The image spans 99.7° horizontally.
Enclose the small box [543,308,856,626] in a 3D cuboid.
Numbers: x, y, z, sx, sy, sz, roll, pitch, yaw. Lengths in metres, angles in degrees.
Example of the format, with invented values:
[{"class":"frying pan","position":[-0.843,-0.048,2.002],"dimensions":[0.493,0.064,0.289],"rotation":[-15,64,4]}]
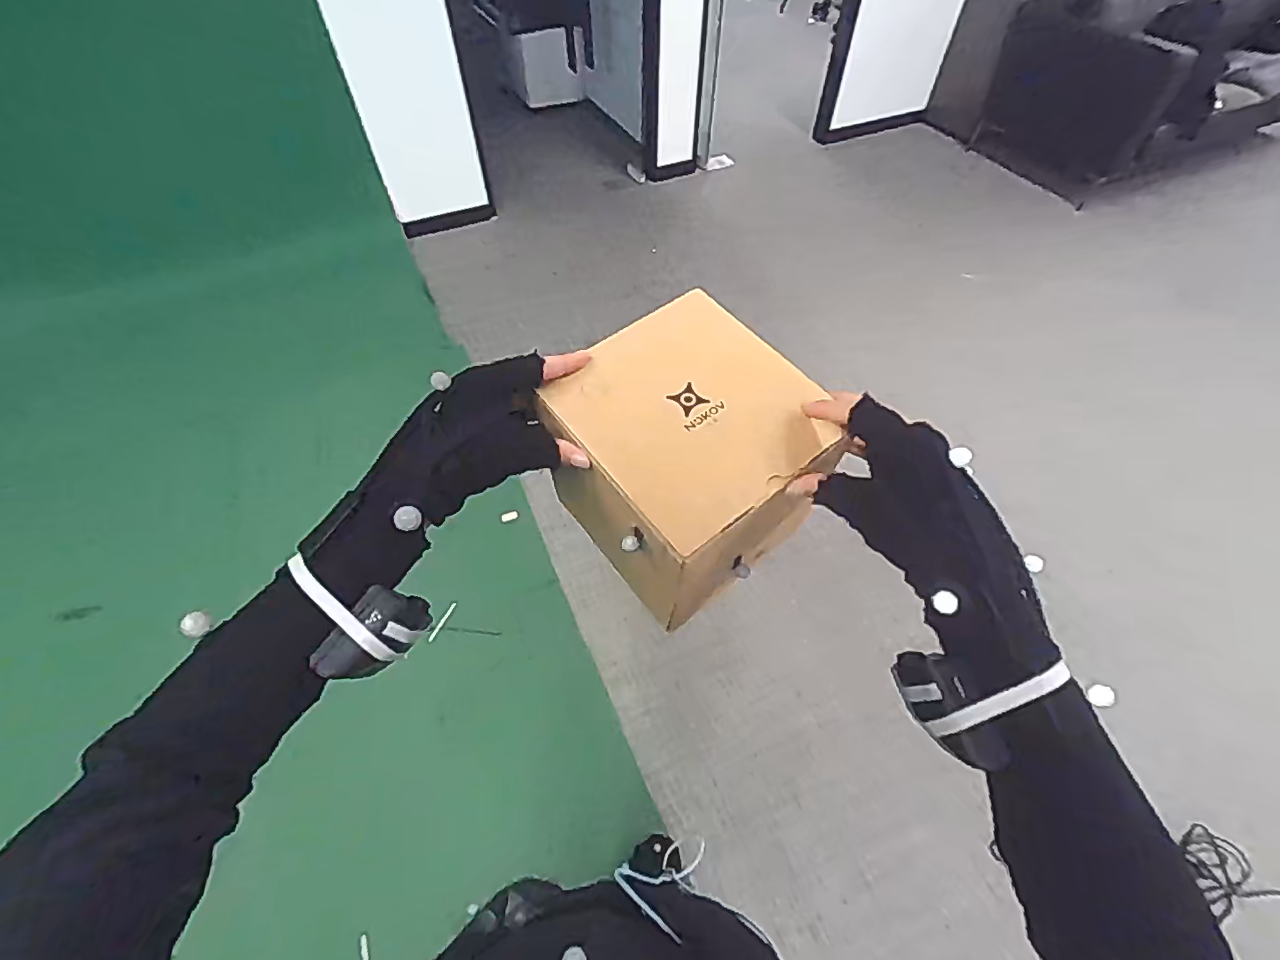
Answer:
[{"class":"small box","position":[0.038,-0.005,0.464],"dimensions":[0.168,0.176,0.179],"rotation":[-34,66,-19]}]
